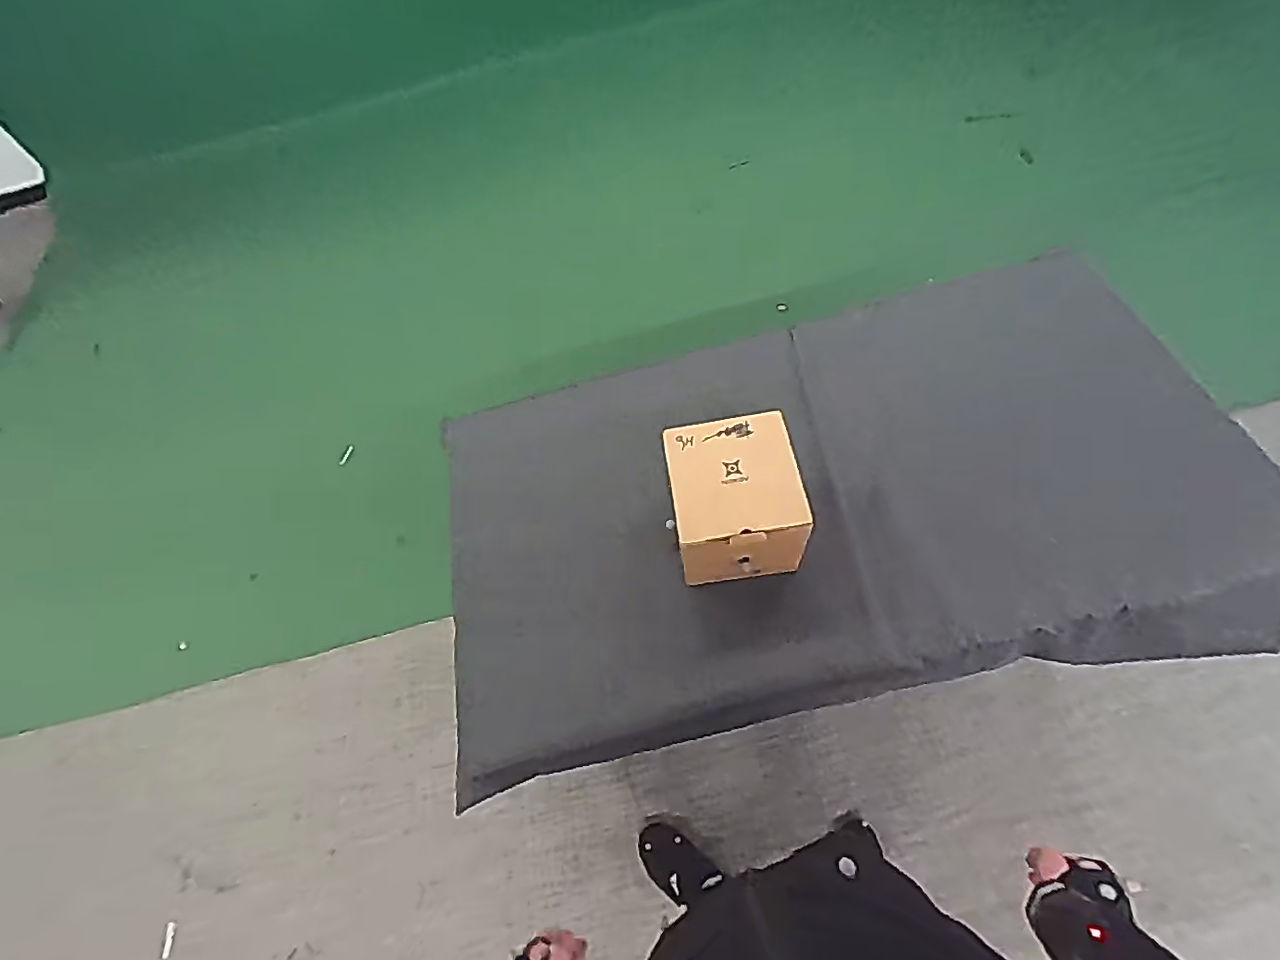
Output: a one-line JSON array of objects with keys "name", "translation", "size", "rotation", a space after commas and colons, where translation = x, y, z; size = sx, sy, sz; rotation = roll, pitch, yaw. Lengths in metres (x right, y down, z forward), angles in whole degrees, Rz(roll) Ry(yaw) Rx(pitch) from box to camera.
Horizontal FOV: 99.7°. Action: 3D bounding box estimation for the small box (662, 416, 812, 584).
[{"name": "small box", "translation": [0.135, 0.039, 0.777], "size": [0.168, 0.176, 0.179], "rotation": [-12, 60, 4]}]
